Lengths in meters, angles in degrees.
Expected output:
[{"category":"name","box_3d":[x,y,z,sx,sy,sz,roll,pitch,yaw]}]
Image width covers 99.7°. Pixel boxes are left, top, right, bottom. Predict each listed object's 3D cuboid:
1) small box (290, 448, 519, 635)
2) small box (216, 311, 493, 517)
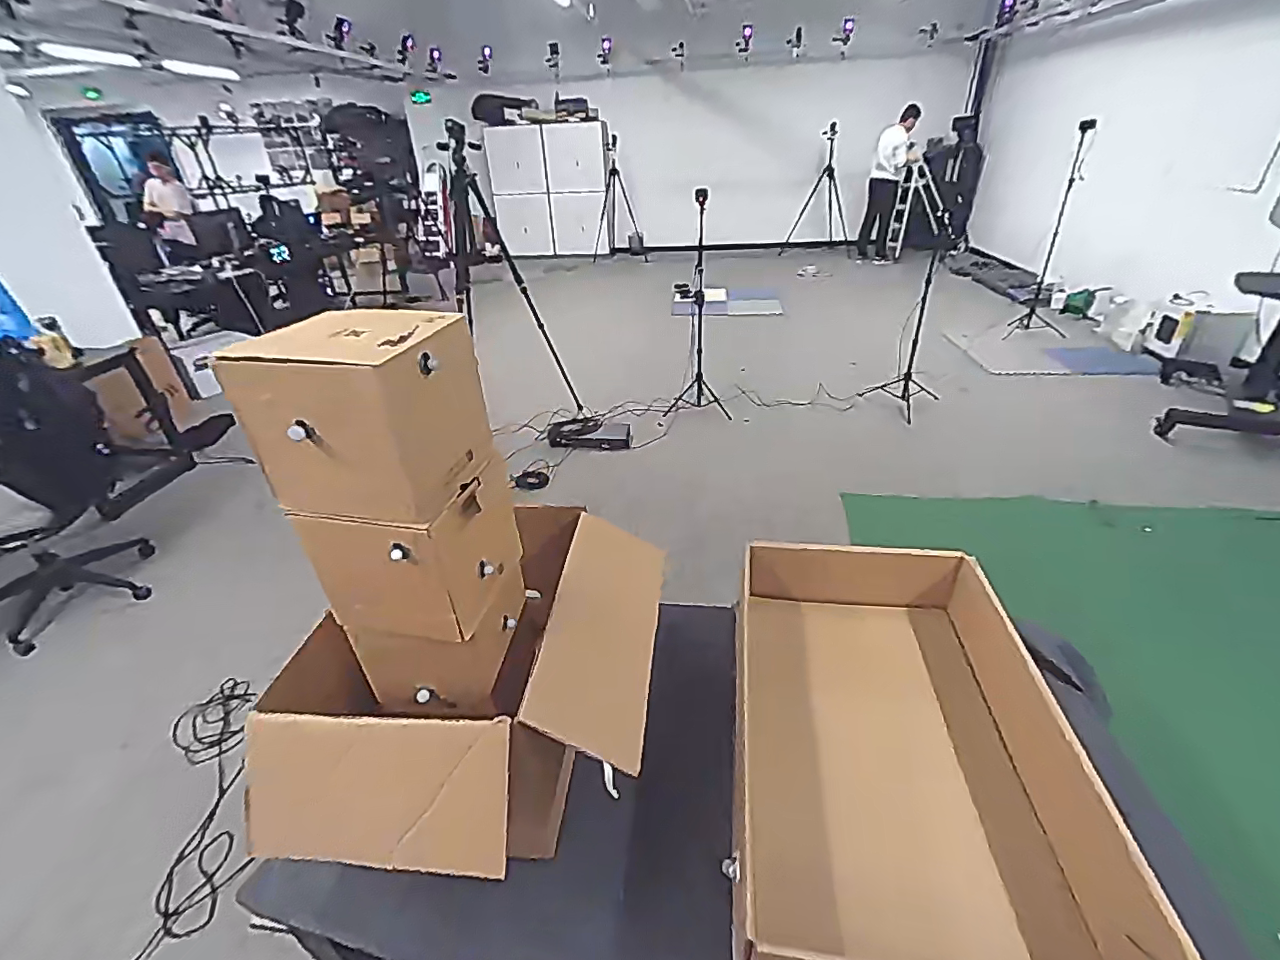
[{"category":"small box","box_3d":[-0.268,0.067,0.661,0.179,0.176,0.168,5,34,12]},{"category":"small box","box_3d":[-0.282,-0.075,0.578,0.179,0.176,0.168,4,33,11]}]
